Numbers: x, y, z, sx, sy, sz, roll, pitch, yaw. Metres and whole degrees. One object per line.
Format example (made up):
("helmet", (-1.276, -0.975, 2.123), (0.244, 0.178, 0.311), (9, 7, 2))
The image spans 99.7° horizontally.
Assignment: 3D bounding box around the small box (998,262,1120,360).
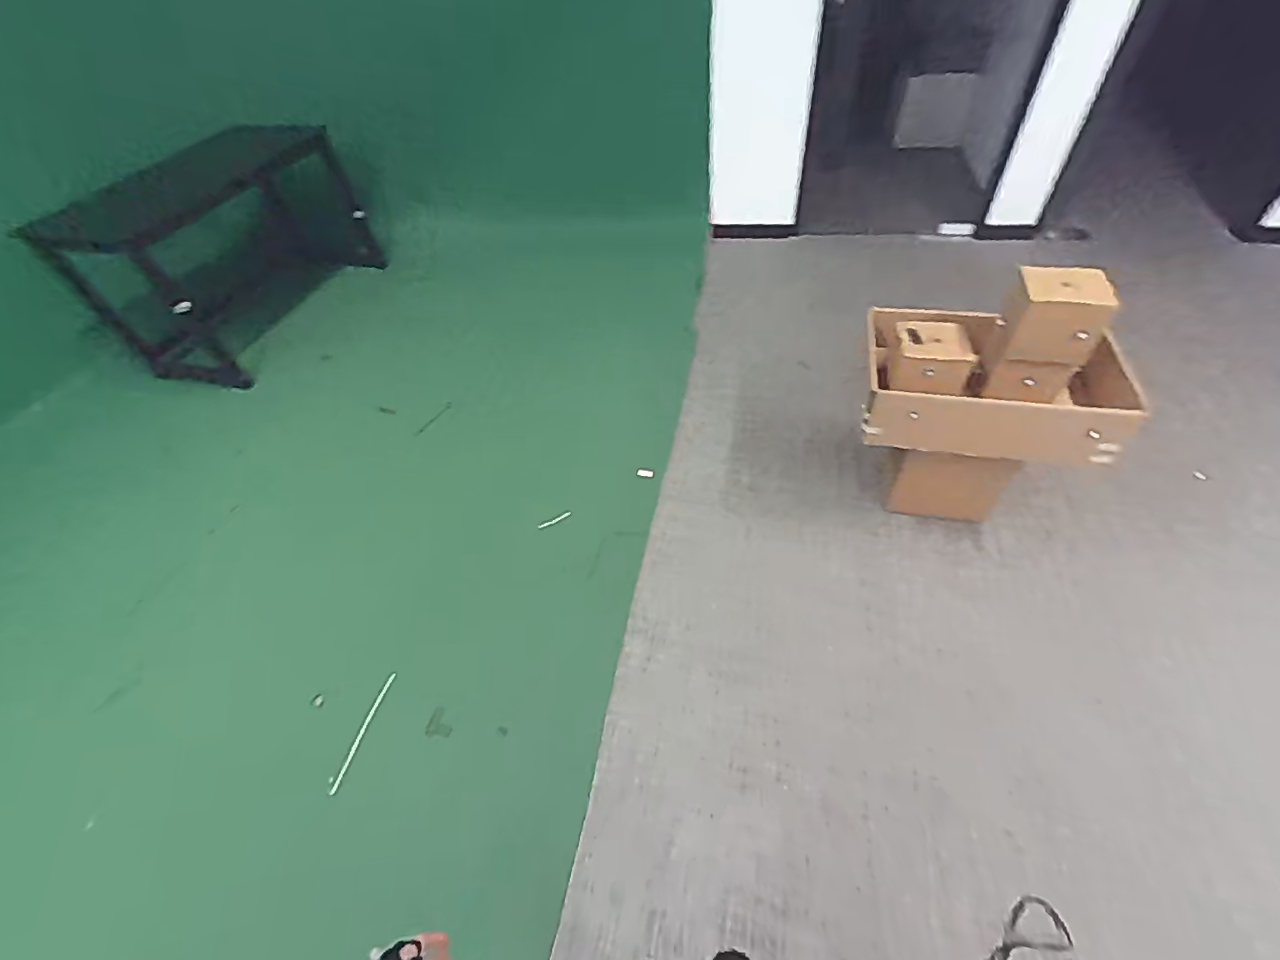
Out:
("small box", (1.017, -0.413, 1.329), (0.179, 0.176, 0.168), (9, 51, 16))
